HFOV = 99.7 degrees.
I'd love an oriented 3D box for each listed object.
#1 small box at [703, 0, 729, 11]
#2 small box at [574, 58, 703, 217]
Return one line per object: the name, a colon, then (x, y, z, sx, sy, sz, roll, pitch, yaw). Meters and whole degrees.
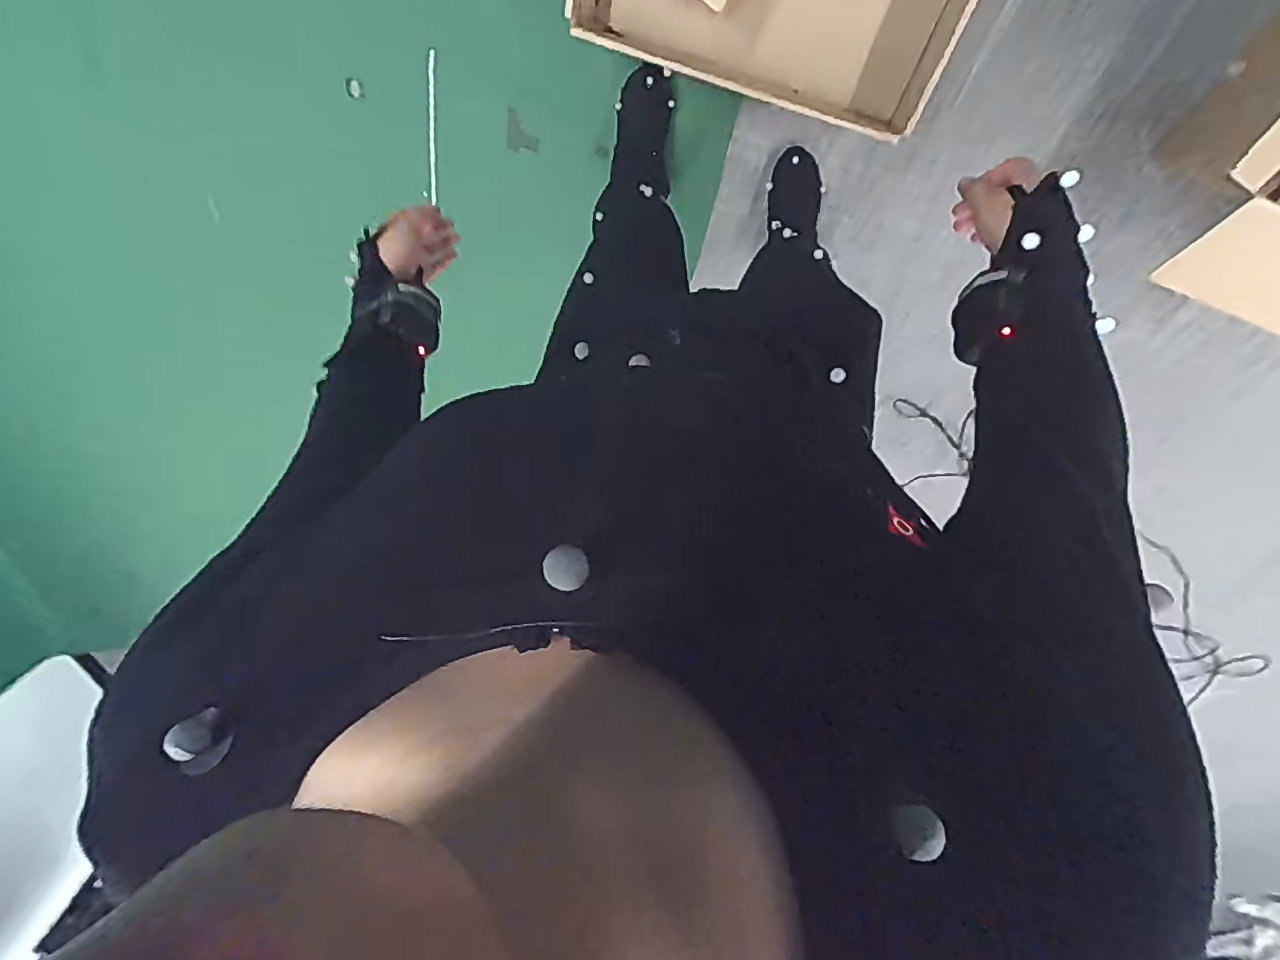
small box: (0.108, -0.875, 0.836, 0.168, 0.176, 0.179, 28, 129, -12)
small box: (0.007, -0.668, 1.066, 0.179, 0.168, 0.176, -37, 147, 7)
